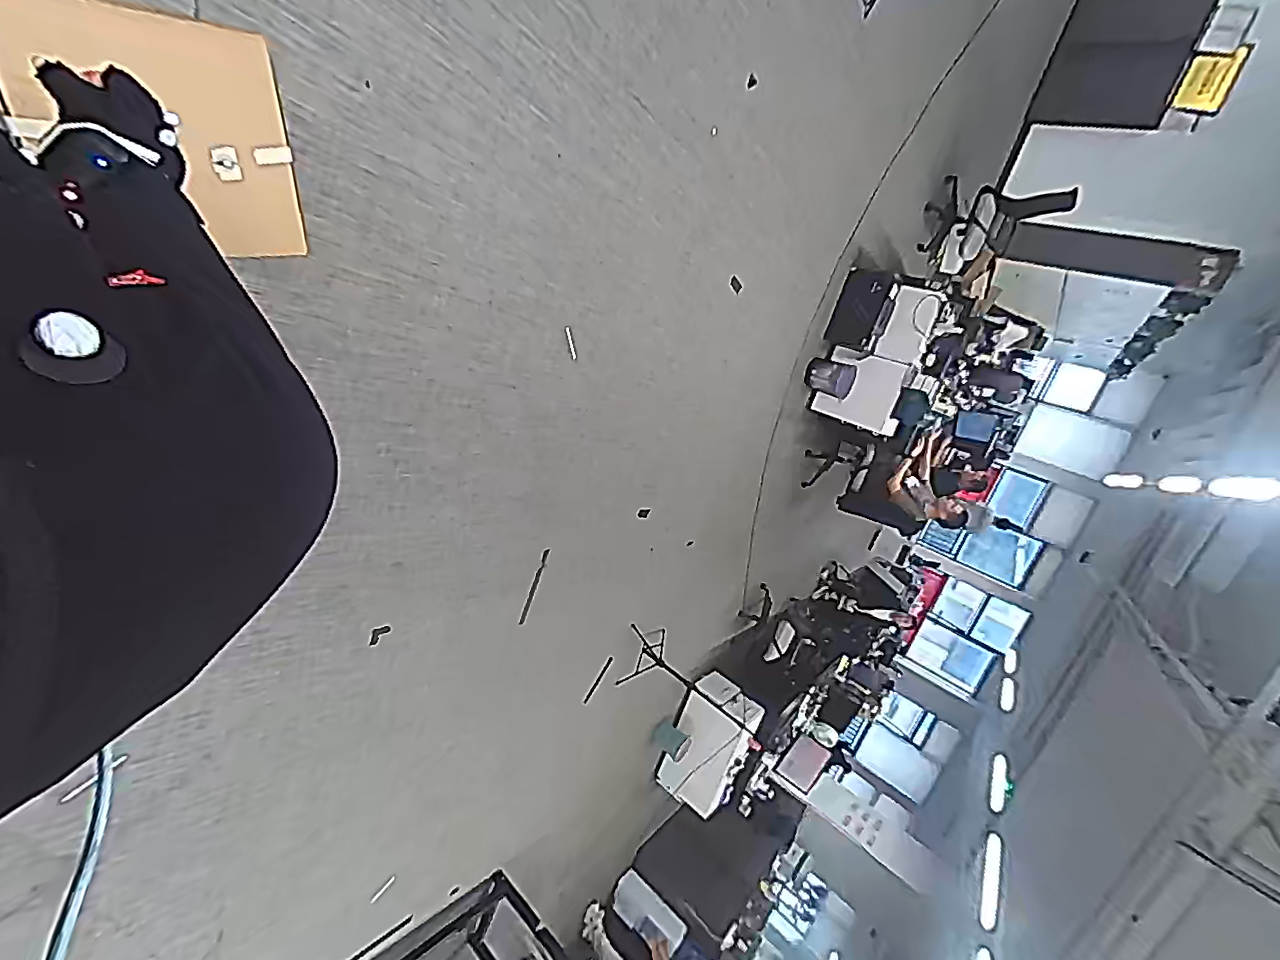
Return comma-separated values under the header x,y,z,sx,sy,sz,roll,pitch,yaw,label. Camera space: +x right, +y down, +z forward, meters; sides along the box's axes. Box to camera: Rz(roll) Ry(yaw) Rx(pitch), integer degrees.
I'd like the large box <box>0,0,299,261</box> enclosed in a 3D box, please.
x,y,z,sx,sy,sz,roll,pitch,yaw,label
-0.825,-0.556,0.891,0.320,0.408,0.320,-23,129,-42,large box
